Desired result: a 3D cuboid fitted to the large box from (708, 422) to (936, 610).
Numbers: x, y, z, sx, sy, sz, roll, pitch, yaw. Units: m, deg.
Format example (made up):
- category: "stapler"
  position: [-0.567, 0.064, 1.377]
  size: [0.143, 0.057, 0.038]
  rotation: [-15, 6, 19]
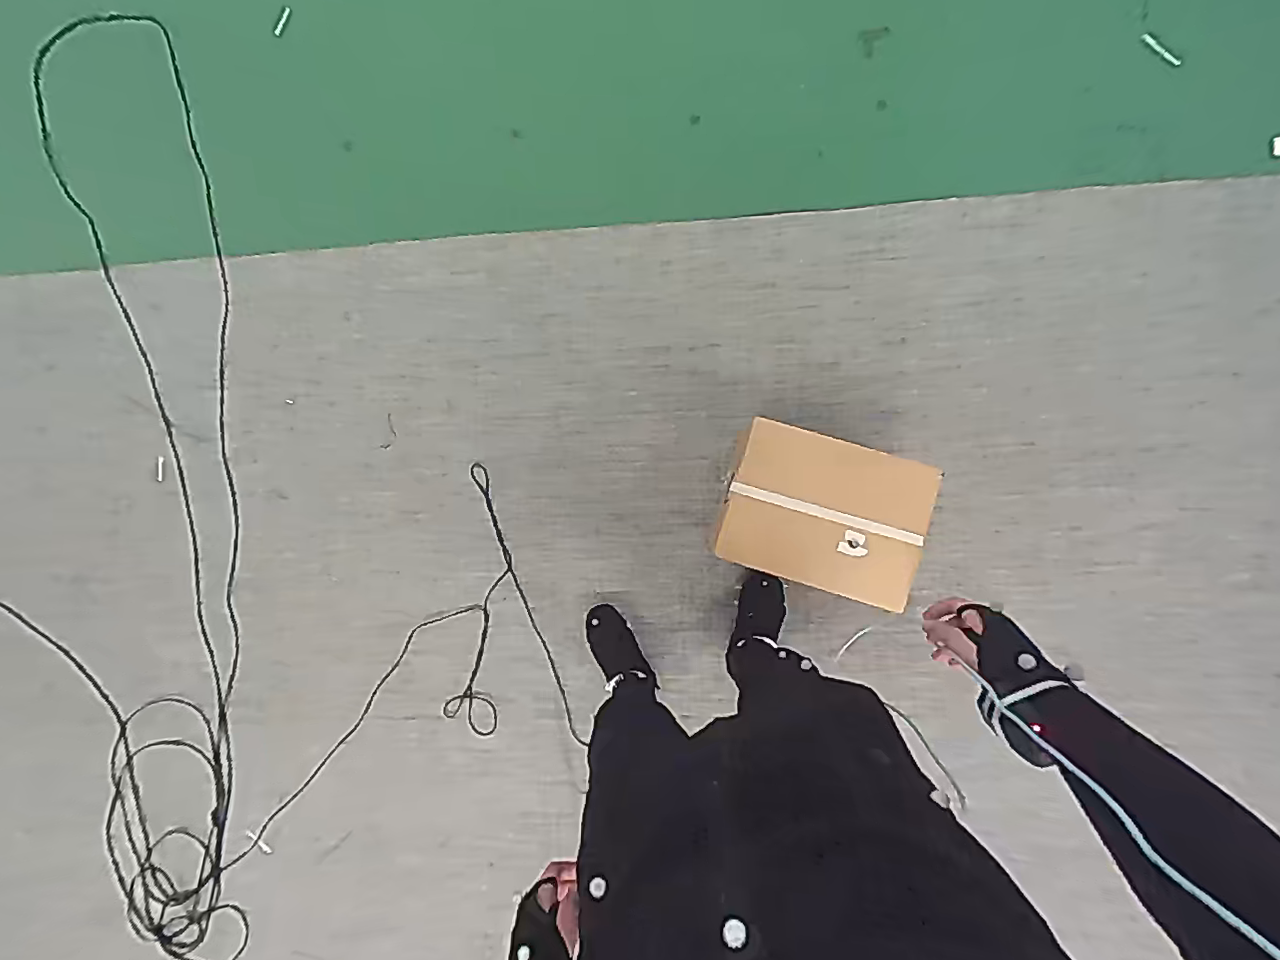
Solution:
- category: "large box"
  position: [0.397, 0.080, 1.284]
  size: [0.408, 0.320, 0.320]
  rotation: [16, 89, 5]
